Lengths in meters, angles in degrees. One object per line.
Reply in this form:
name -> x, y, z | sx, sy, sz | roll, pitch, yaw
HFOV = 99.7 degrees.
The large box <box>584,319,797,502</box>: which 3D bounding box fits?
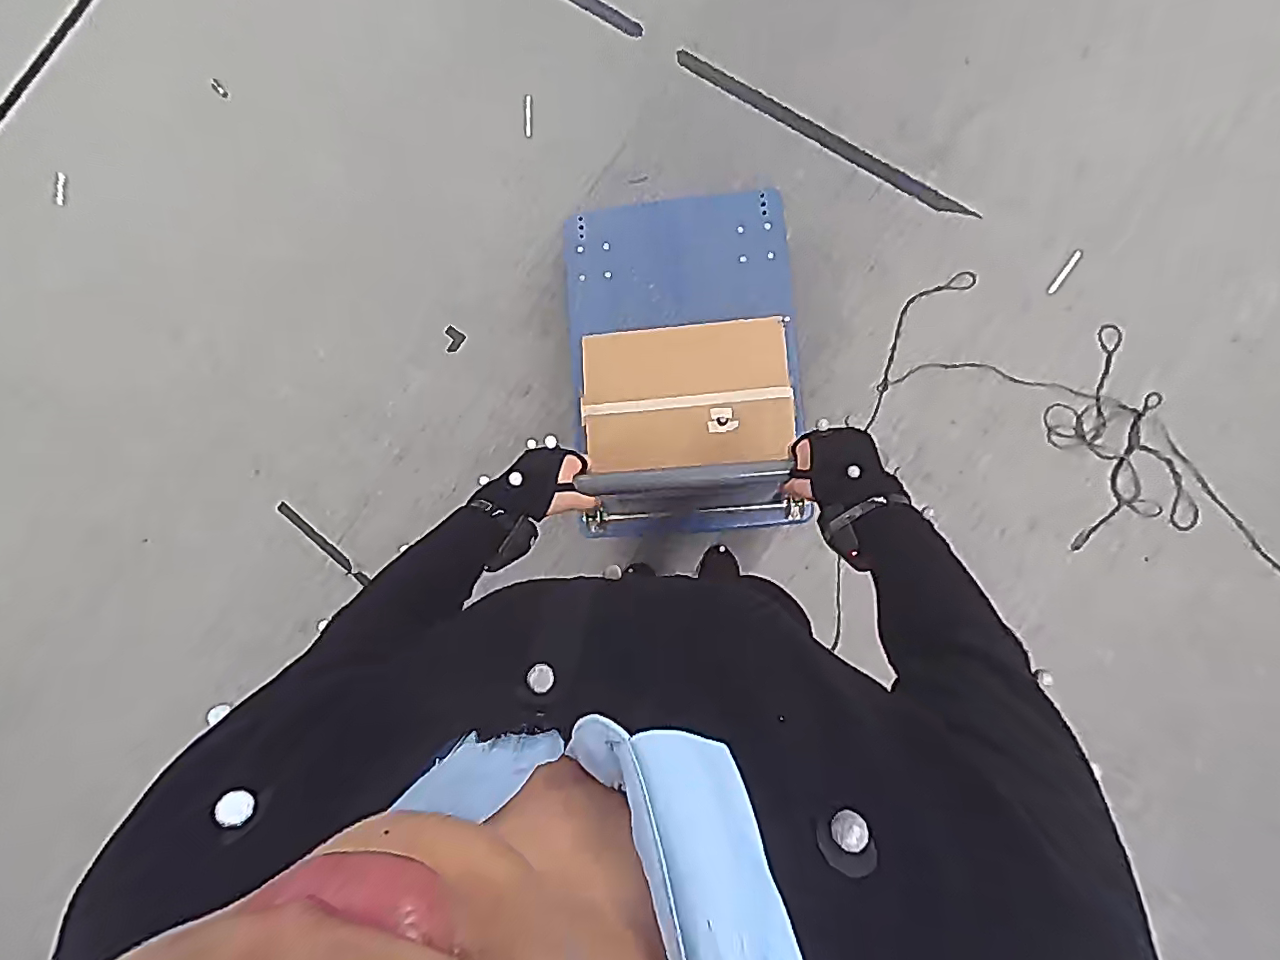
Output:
large box -> 0.105, -0.132, 1.212 | 0.408, 0.320, 0.320 | -5, 83, 4
